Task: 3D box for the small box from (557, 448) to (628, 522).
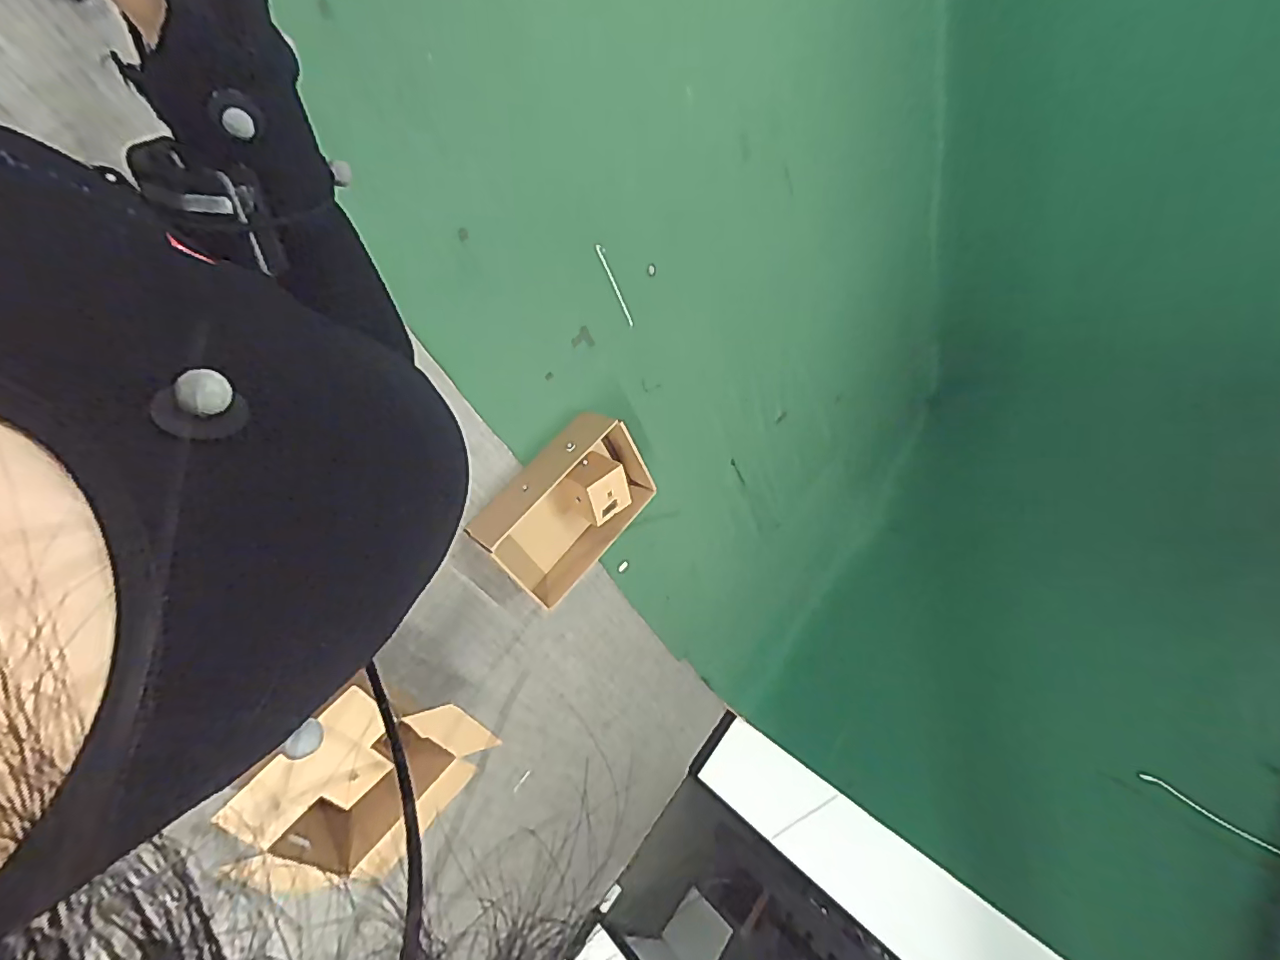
[{"bbox_3d":[-0.171,0.013,1.933,0.168,0.176,0.179,-35,132,-29],"label":"small box"}]
